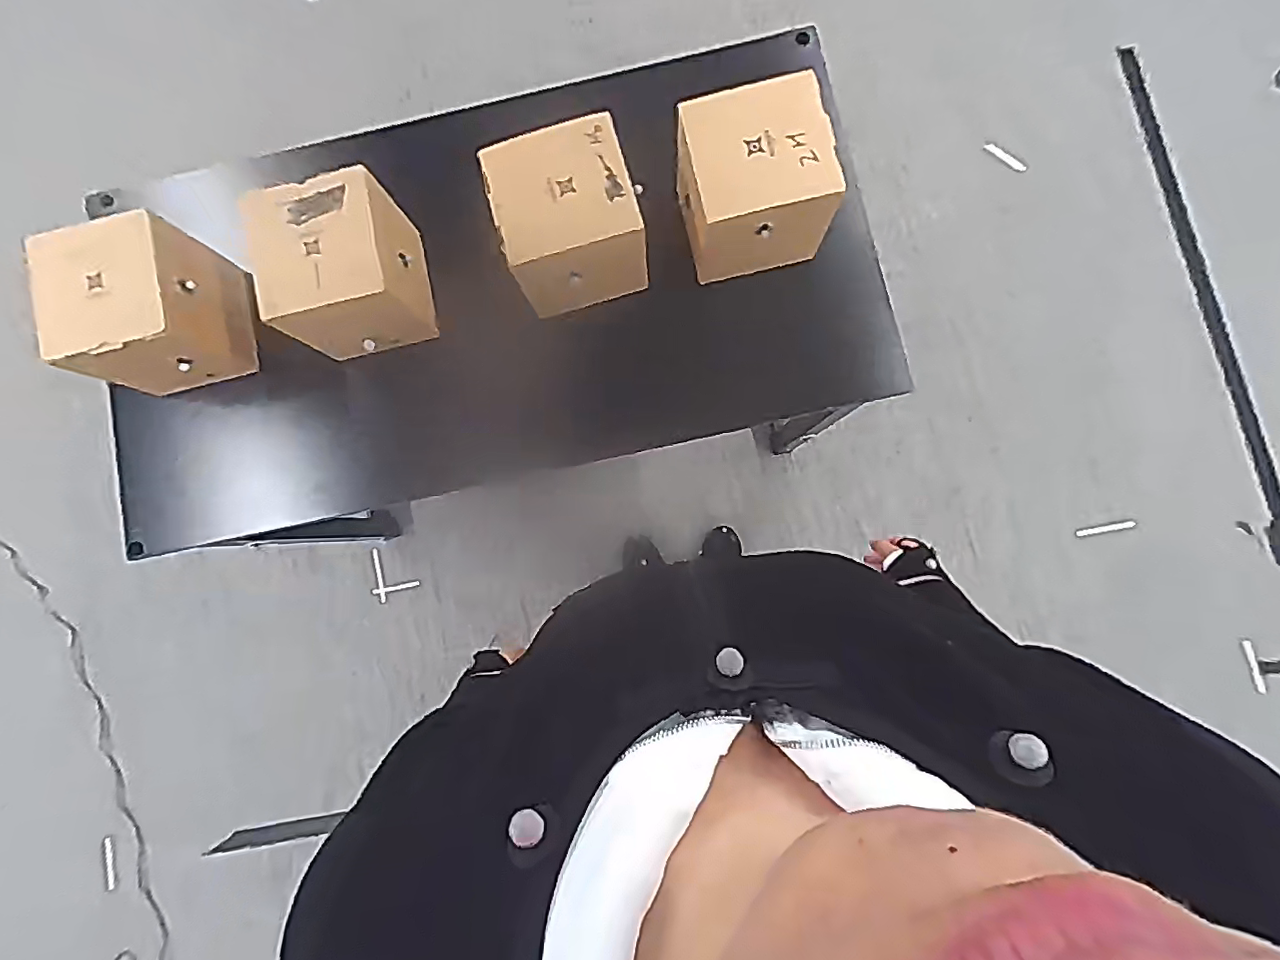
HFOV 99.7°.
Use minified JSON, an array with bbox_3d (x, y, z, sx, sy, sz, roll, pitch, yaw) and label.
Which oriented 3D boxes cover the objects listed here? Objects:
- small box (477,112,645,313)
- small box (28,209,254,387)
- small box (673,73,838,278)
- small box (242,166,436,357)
[{"bbox_3d":[-0.100,-0.357,0.757,0.179,0.176,0.168,-16,84,2],"label":"small box"},{"bbox_3d":[-0.694,-0.243,0.773,0.168,0.176,0.179,-14,83,0],"label":"small box"},{"bbox_3d":[0.147,-0.404,0.749,0.179,0.176,0.168,-13,84,2],"label":"small box"},{"bbox_3d":[-0.412,-0.296,0.765,0.168,0.176,0.179,-13,85,1],"label":"small box"}]
